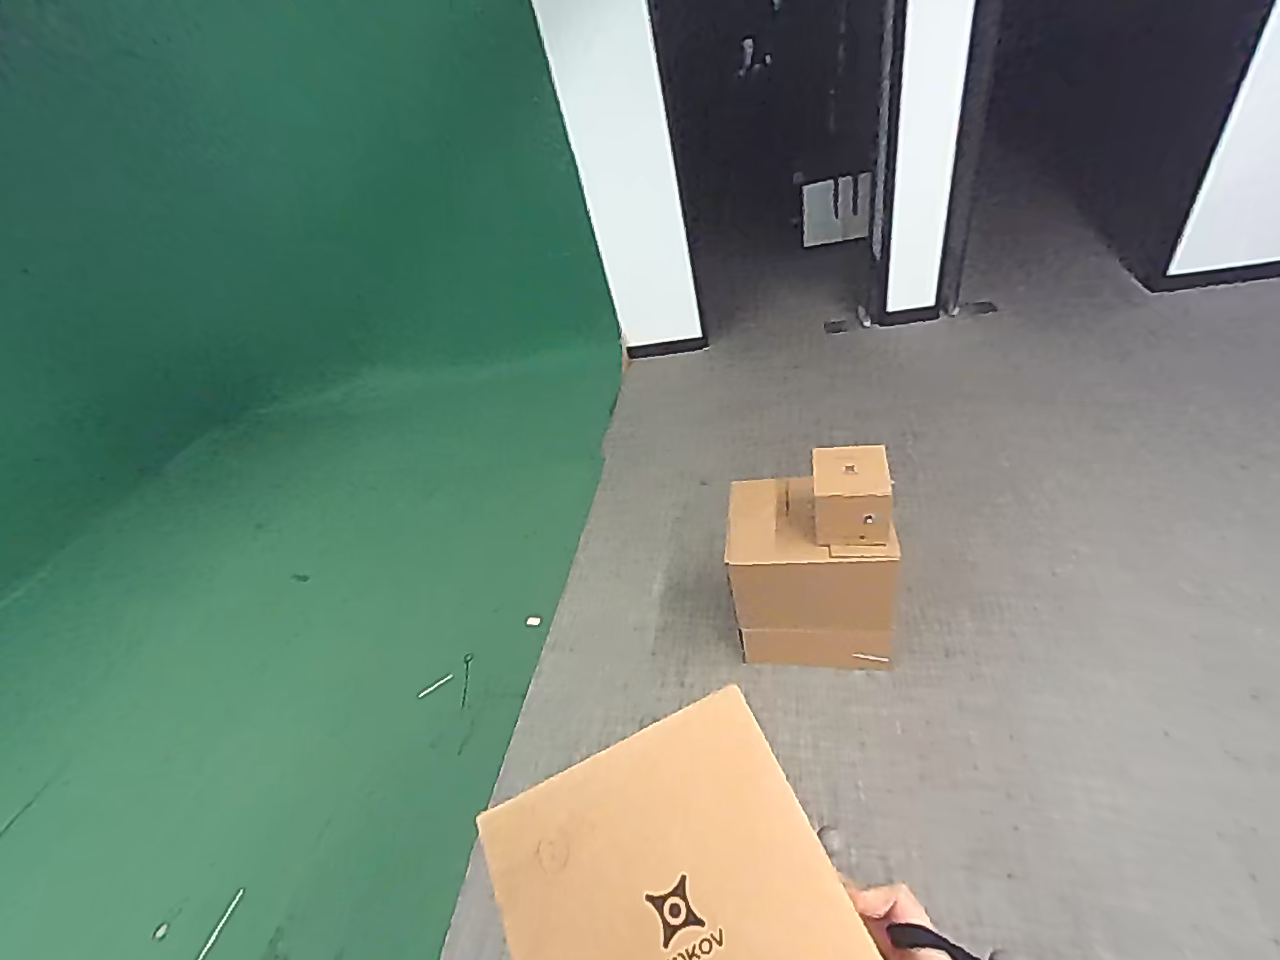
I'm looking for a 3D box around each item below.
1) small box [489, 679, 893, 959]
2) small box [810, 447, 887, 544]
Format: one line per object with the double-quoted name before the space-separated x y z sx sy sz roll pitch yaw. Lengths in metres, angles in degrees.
"small box" 0.030 0.256 0.341 0.168 0.176 0.179 -25 61 -8
"small box" 0.503 0.042 1.312 0.168 0.176 0.179 -3 40 19
